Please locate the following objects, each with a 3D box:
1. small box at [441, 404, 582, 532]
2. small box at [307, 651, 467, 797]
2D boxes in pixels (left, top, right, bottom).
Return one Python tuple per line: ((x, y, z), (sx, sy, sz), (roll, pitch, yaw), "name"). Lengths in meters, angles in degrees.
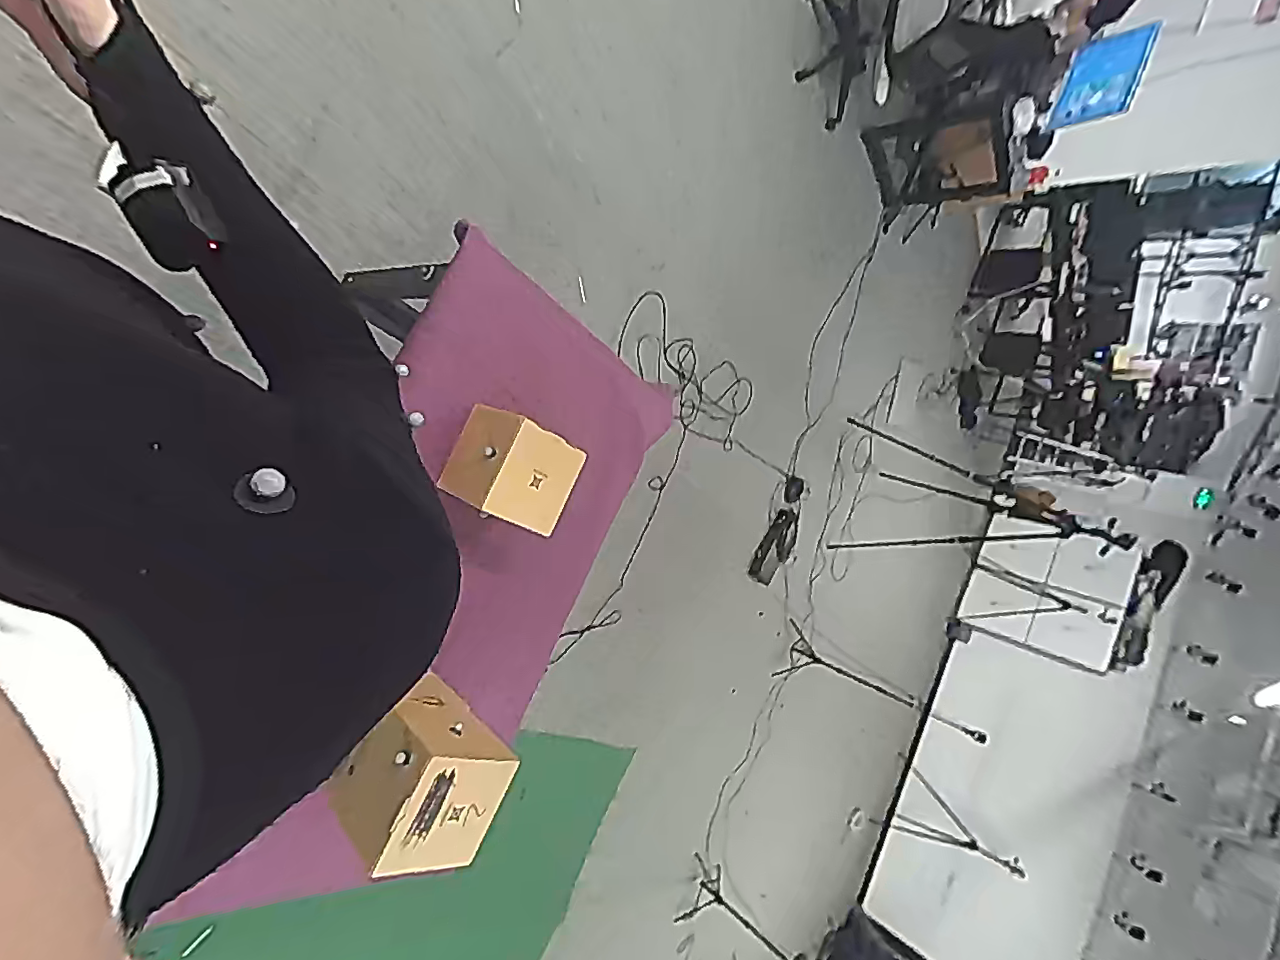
((-0.248, -0.025, 1.023), (0.168, 0.176, 0.179), (32, 79, -47), "small box")
((-0.449, 0.425, 0.955), (0.168, 0.176, 0.179), (38, 75, -47), "small box")
